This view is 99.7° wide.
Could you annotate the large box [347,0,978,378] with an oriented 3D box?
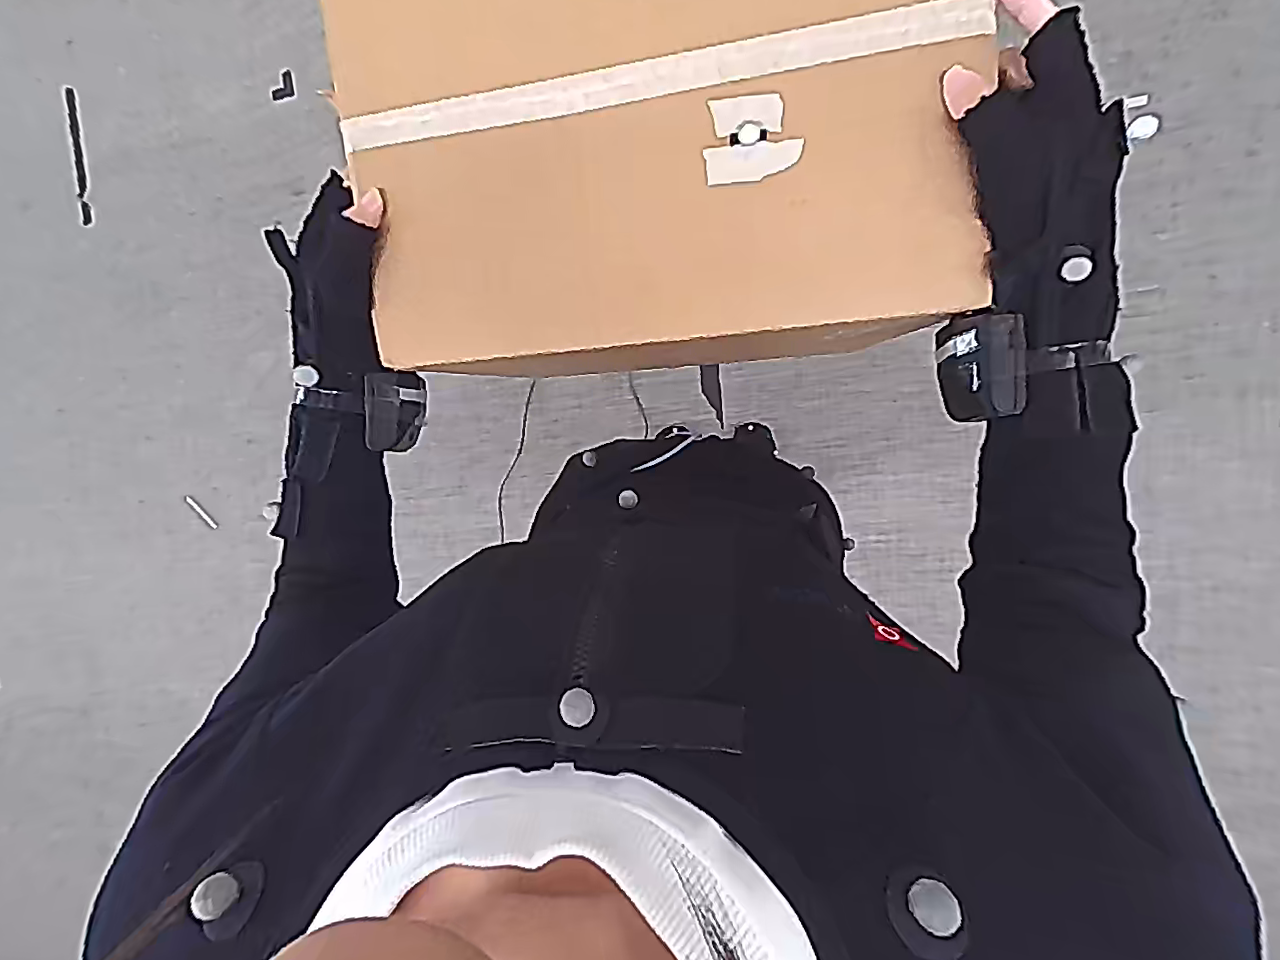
[{"bbox_3d":[0.023,-0.275,0.496,0.408,0.320,0.320,-4,99,9],"label":"large box"}]
